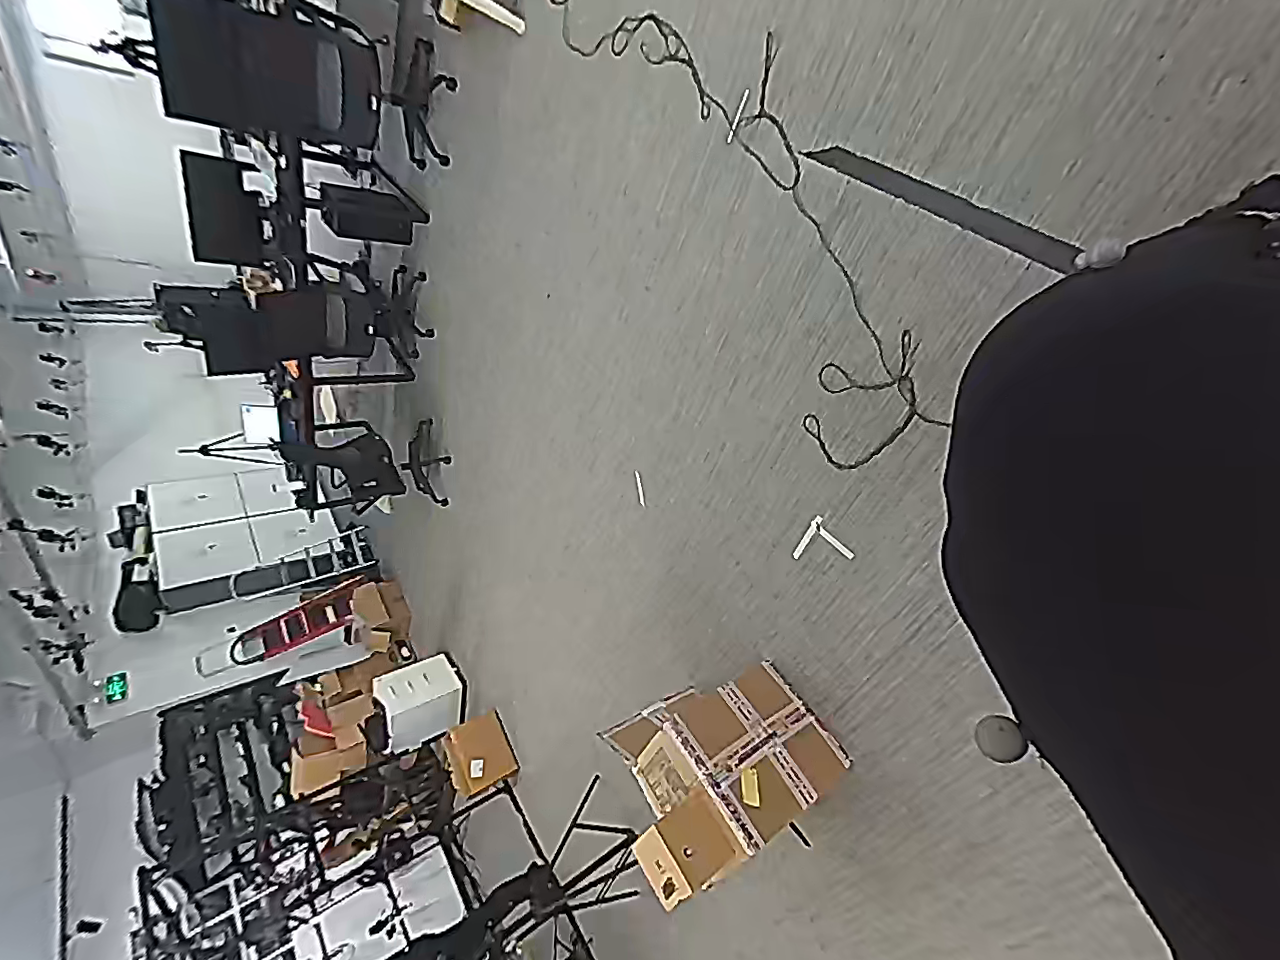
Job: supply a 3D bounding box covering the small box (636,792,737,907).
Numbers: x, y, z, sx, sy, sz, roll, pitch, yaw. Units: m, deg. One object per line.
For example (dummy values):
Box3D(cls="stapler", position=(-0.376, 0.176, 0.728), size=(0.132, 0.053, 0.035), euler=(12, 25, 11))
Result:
Box3D(cls="small box", position=(0.127, 0.988, 1.456), size=(0.179, 0.176, 0.168), euler=(50, 131, 30))
